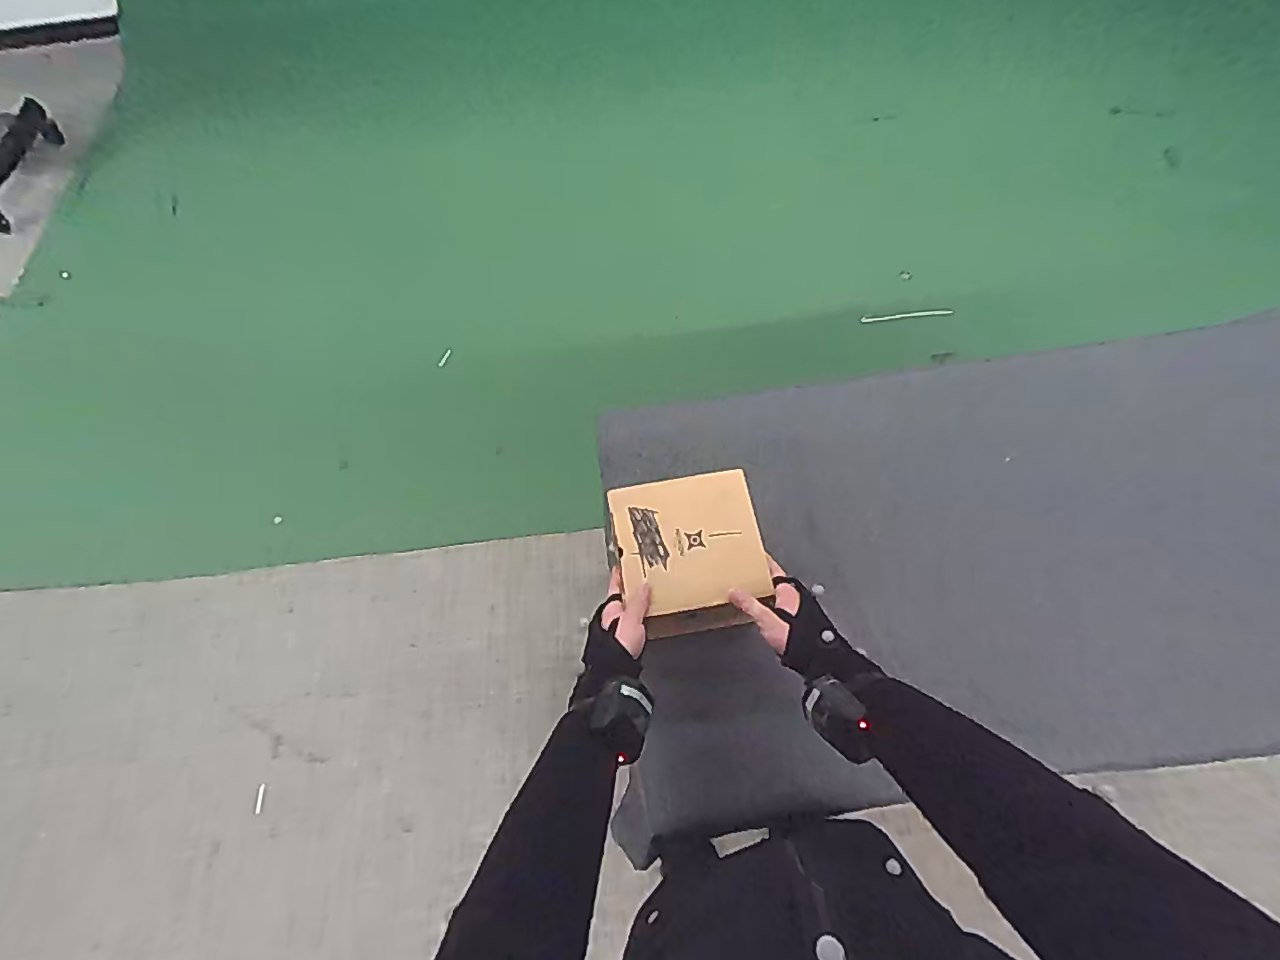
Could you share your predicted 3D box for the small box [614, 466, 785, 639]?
[{"bbox_3d":[0.065,0.101,0.703,0.179,0.176,0.168,-8,64,-5],"label":"small box"}]
